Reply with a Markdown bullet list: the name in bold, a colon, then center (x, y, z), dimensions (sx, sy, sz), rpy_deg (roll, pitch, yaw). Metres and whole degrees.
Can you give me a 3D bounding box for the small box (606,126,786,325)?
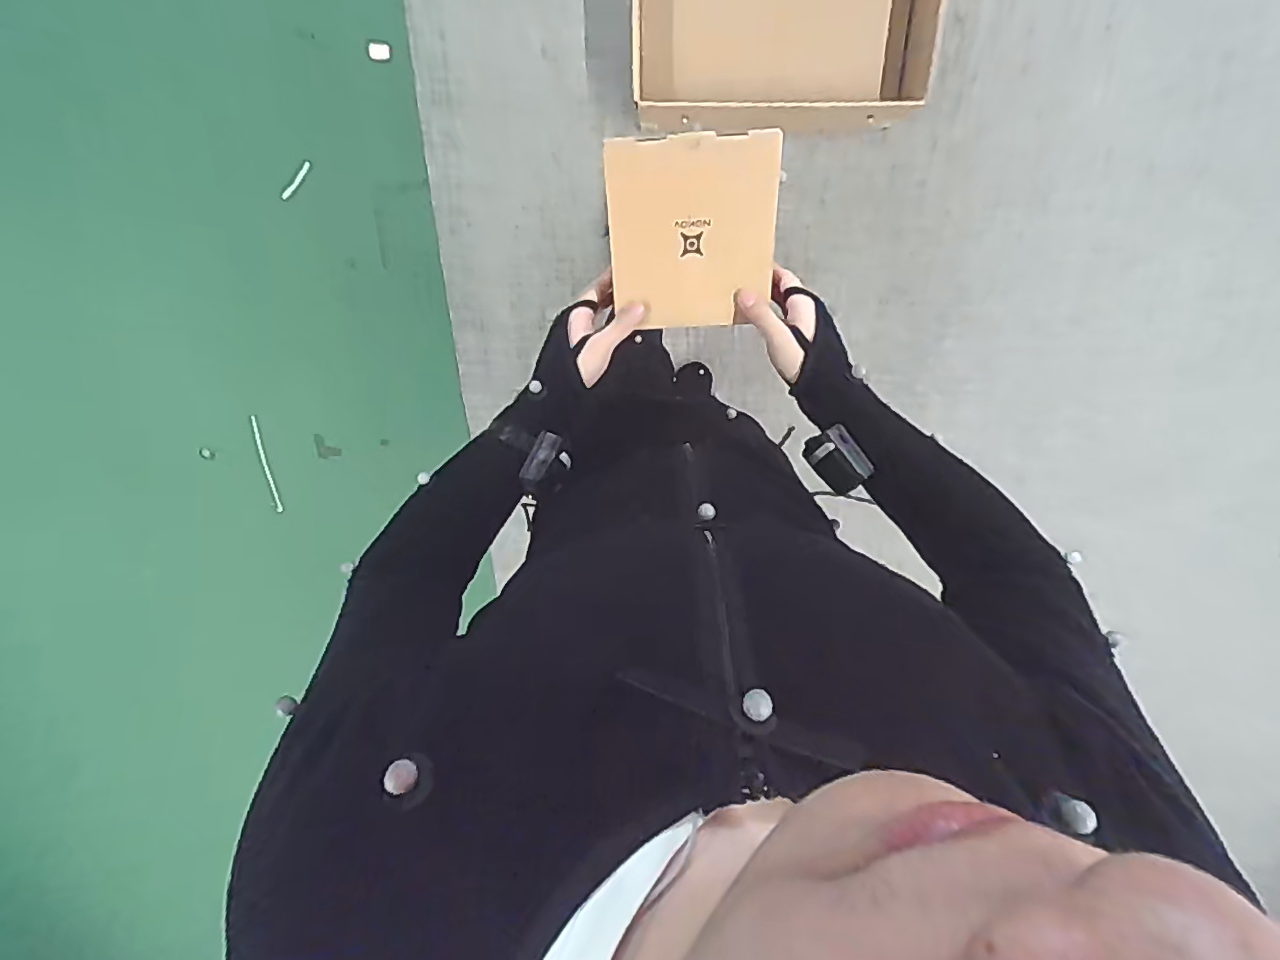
- **small box**: center (0.056, -0.282, 0.597), dimensions (0.168, 0.176, 0.179), rpy_deg (-2, 120, 2)
